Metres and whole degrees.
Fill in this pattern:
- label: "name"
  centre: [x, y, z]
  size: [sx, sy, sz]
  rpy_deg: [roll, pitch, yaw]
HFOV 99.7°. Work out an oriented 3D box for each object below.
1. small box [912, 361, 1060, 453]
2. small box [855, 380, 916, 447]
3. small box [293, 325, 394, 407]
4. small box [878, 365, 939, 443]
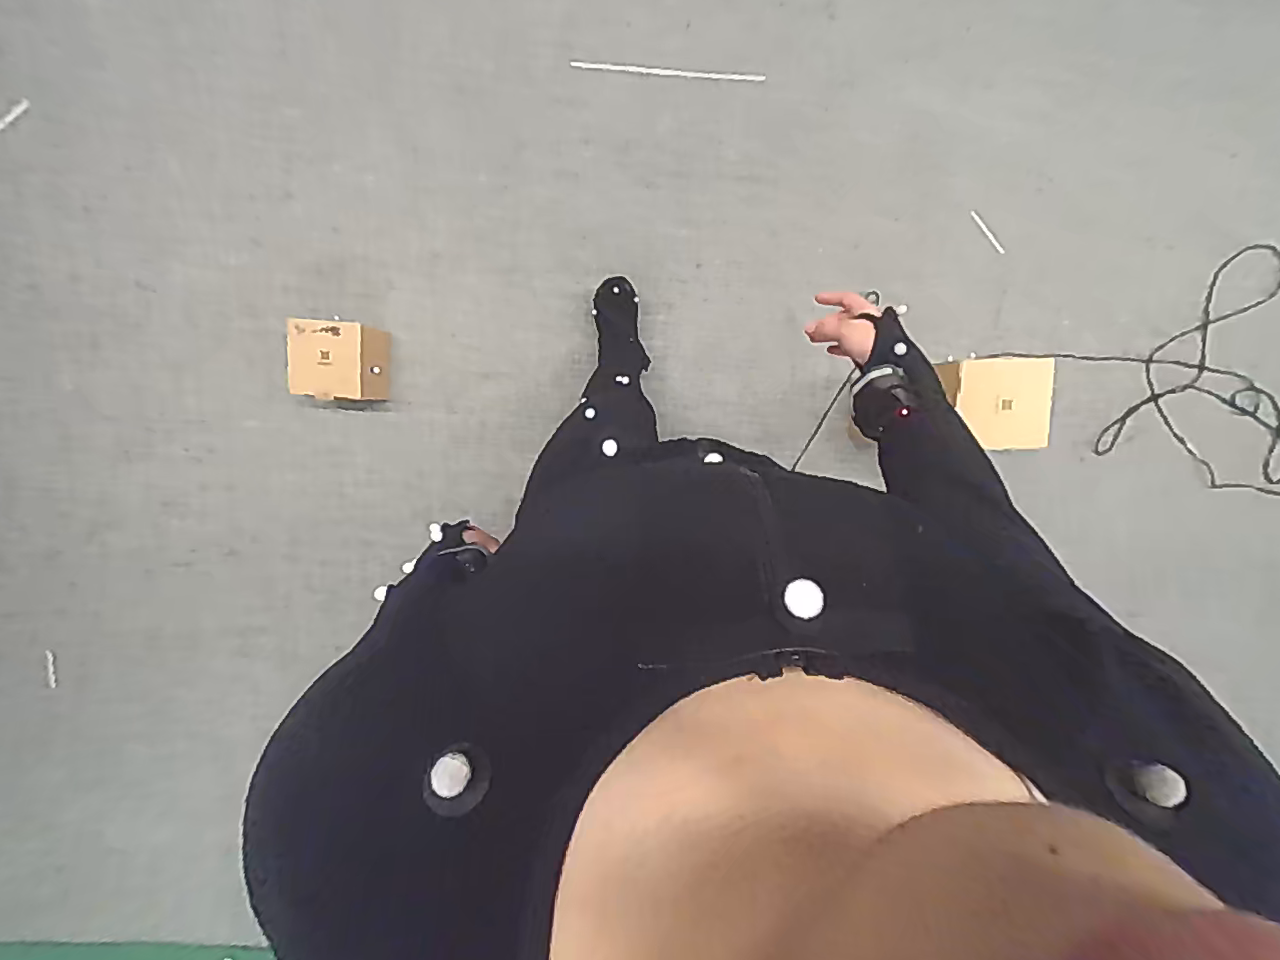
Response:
- label: "small box"
  centre: [0.659, -0.142, 1.047]
  size: [0.179, 0.176, 0.168]
  rpy_deg: [-2, 97, 0]
- label: "small box"
  centre: [0.659, -0.173, 1.372]
  size: [0.179, 0.176, 0.168]
  rpy_deg: [-5, 98, -1]
- label: "small box"
  centre: [-0.719, -0.274, 1.326]
  size: [0.168, 0.176, 0.179]
  rpy_deg: [4, 98, -2]
- label: "small box"
  centre: [0.659, -0.169, 1.207]
  size: [0.179, 0.176, 0.168]
  rpy_deg: [-1, 97, -1]
